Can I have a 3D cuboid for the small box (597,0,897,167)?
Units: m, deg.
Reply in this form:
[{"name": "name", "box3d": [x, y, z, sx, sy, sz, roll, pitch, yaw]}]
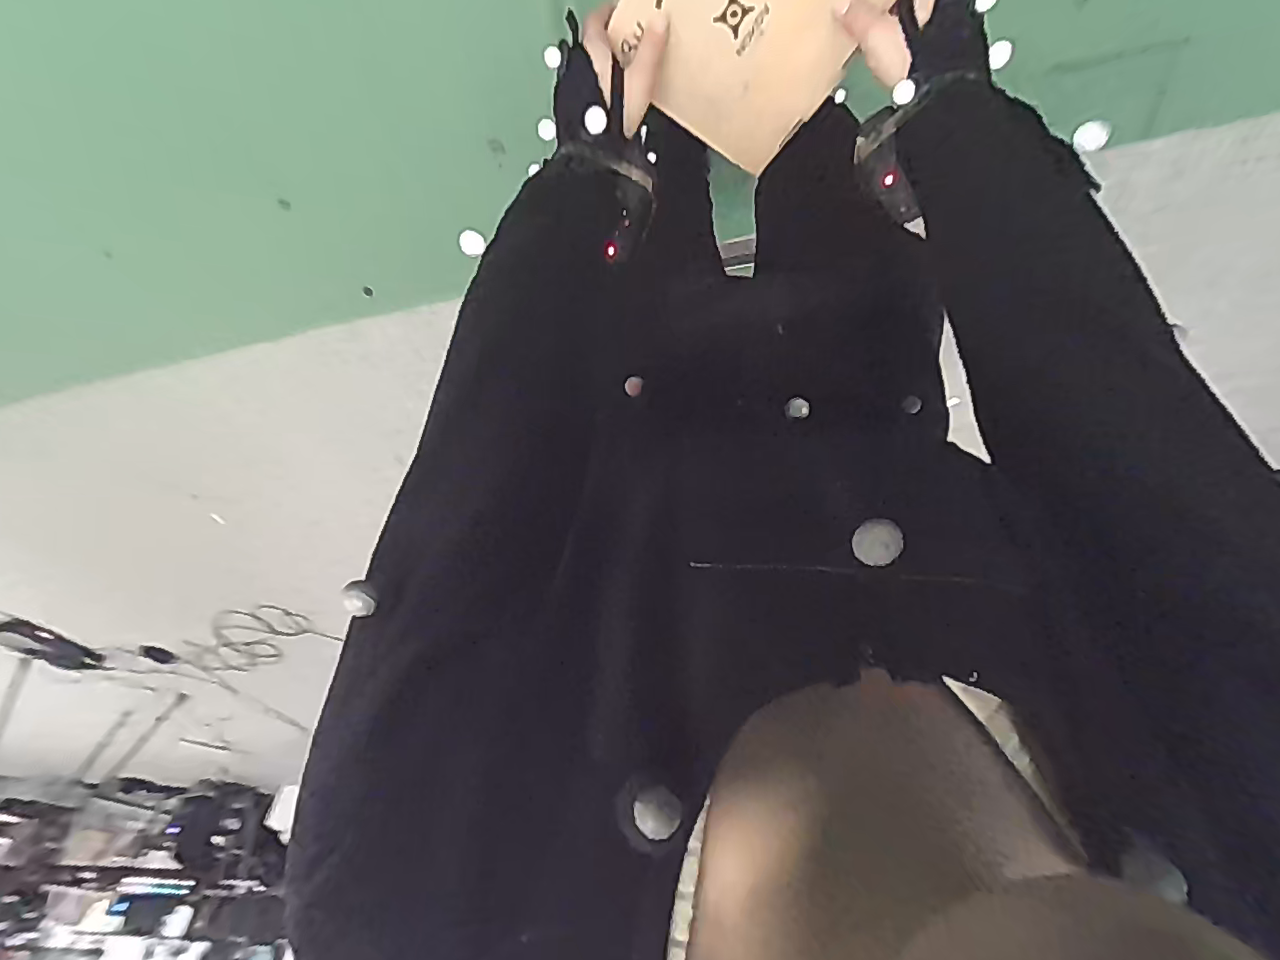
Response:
[{"name": "small box", "box3d": [0.085, -0.421, 0.455, 0.179, 0.176, 0.168, 22, 142, -25]}]
